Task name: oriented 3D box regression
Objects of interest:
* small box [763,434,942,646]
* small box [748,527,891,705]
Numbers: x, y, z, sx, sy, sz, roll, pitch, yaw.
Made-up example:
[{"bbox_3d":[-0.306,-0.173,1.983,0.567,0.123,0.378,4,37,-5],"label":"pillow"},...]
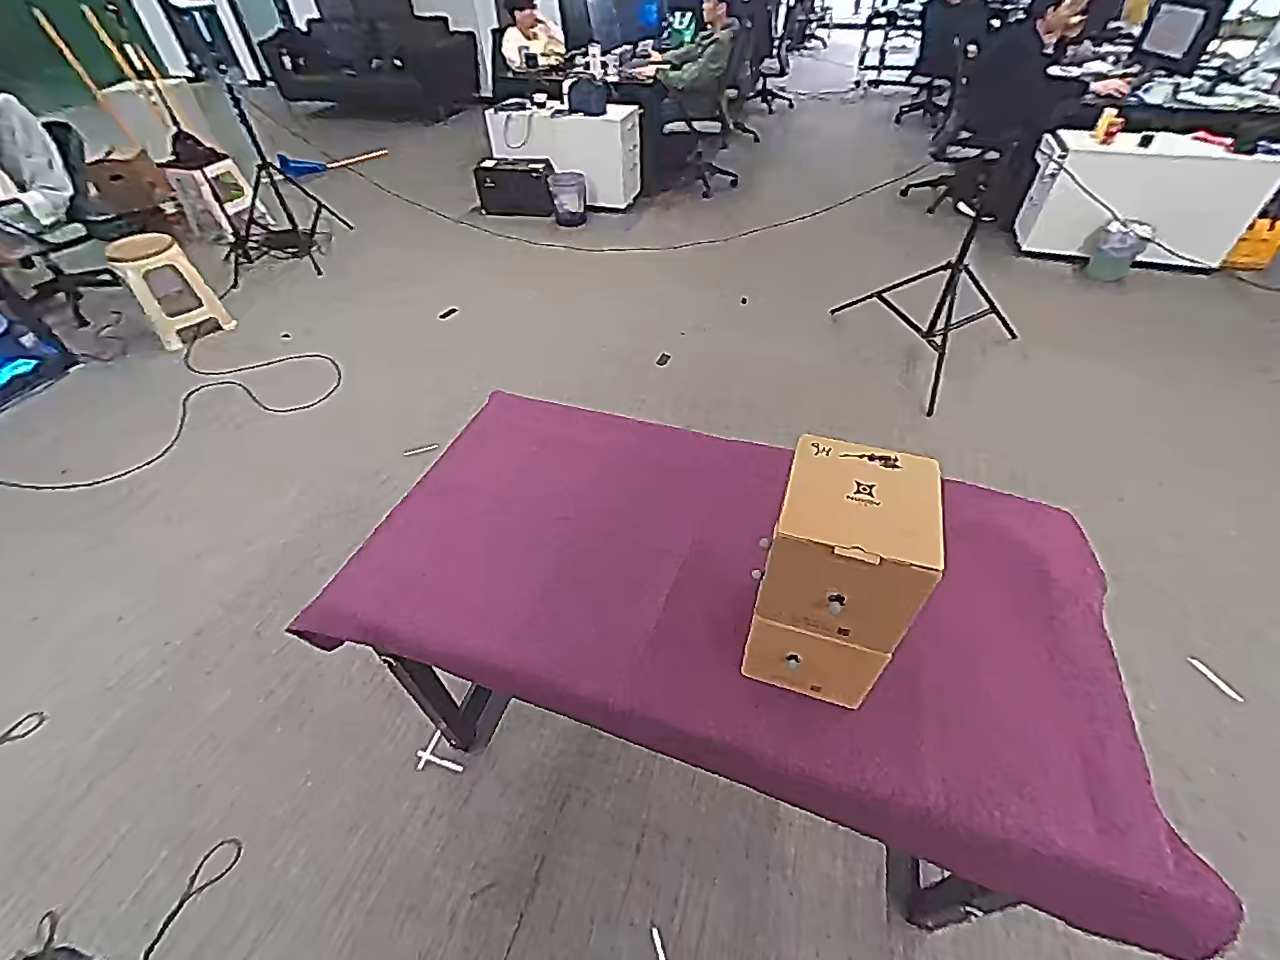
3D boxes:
[{"bbox_3d":[0.253,0.075,0.664,0.168,0.176,0.179,13,48,15],"label":"small box"},{"bbox_3d":[0.255,0.193,0.778,0.168,0.176,0.179,13,47,14],"label":"small box"}]
